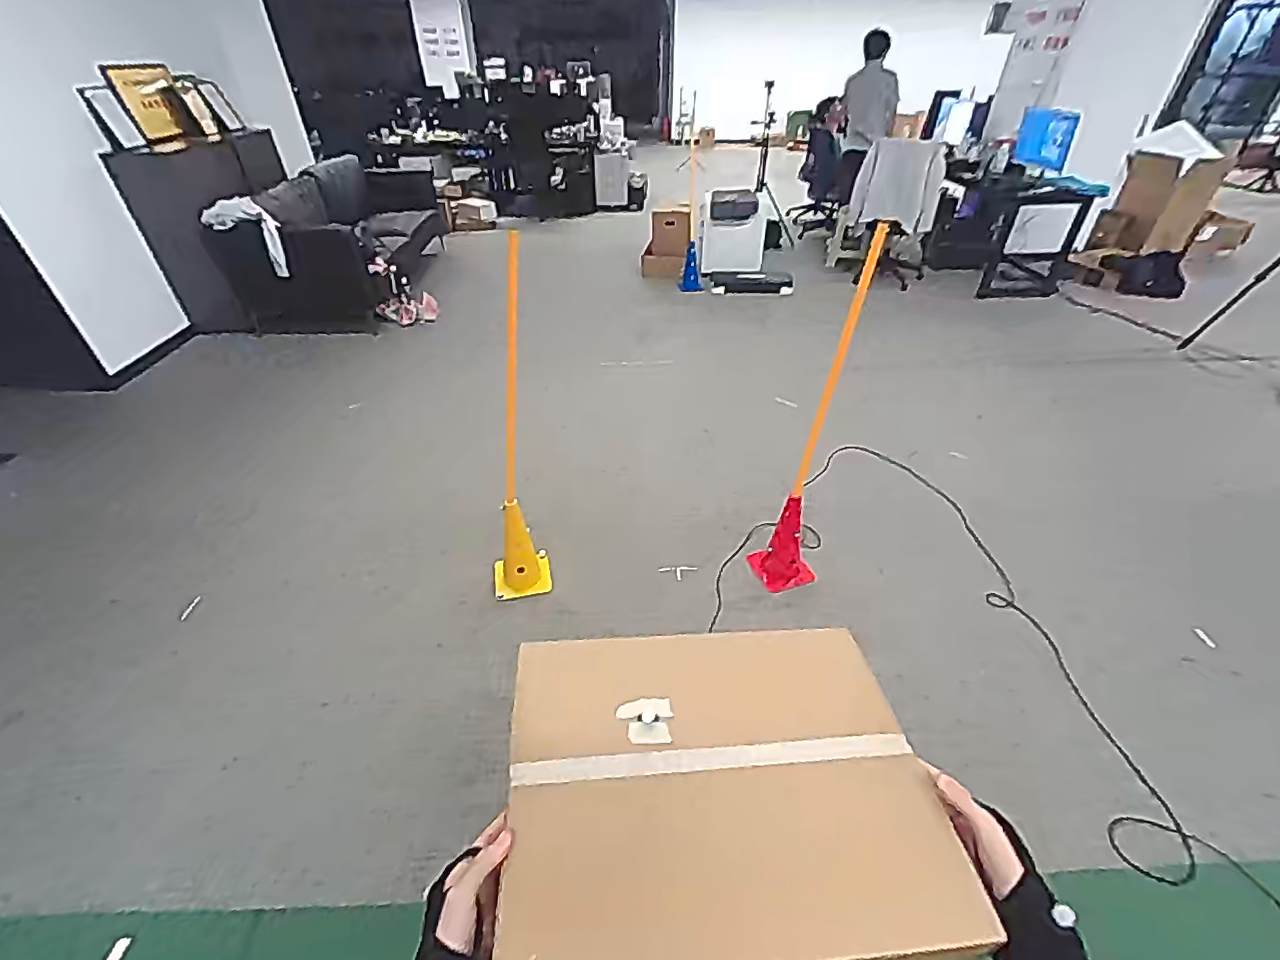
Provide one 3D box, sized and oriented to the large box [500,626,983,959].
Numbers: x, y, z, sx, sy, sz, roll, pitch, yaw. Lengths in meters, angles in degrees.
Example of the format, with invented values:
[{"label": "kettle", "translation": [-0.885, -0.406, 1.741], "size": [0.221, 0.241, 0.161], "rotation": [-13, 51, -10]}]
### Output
[{"label": "large box", "translation": [0.070, 0.403, 0.630], "size": [0.408, 0.320, 0.320], "rotation": [-2, 36, -6]}]
